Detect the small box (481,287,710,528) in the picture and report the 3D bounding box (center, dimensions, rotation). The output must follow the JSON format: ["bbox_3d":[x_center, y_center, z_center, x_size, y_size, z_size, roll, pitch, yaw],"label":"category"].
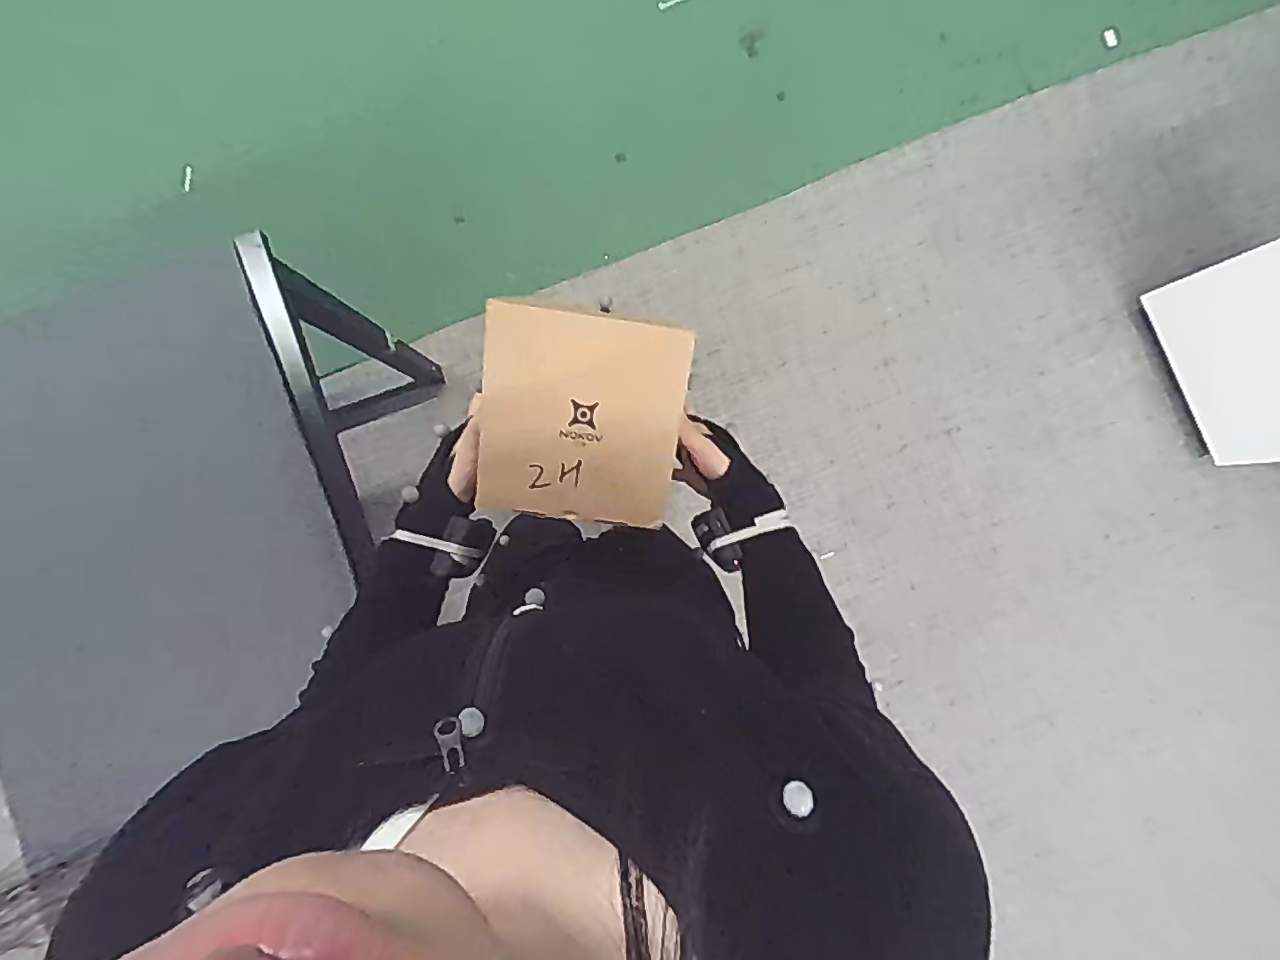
[{"bbox_3d":[-0.043,-0.075,0.509,0.168,0.176,0.179,8,107,-4],"label":"small box"}]
